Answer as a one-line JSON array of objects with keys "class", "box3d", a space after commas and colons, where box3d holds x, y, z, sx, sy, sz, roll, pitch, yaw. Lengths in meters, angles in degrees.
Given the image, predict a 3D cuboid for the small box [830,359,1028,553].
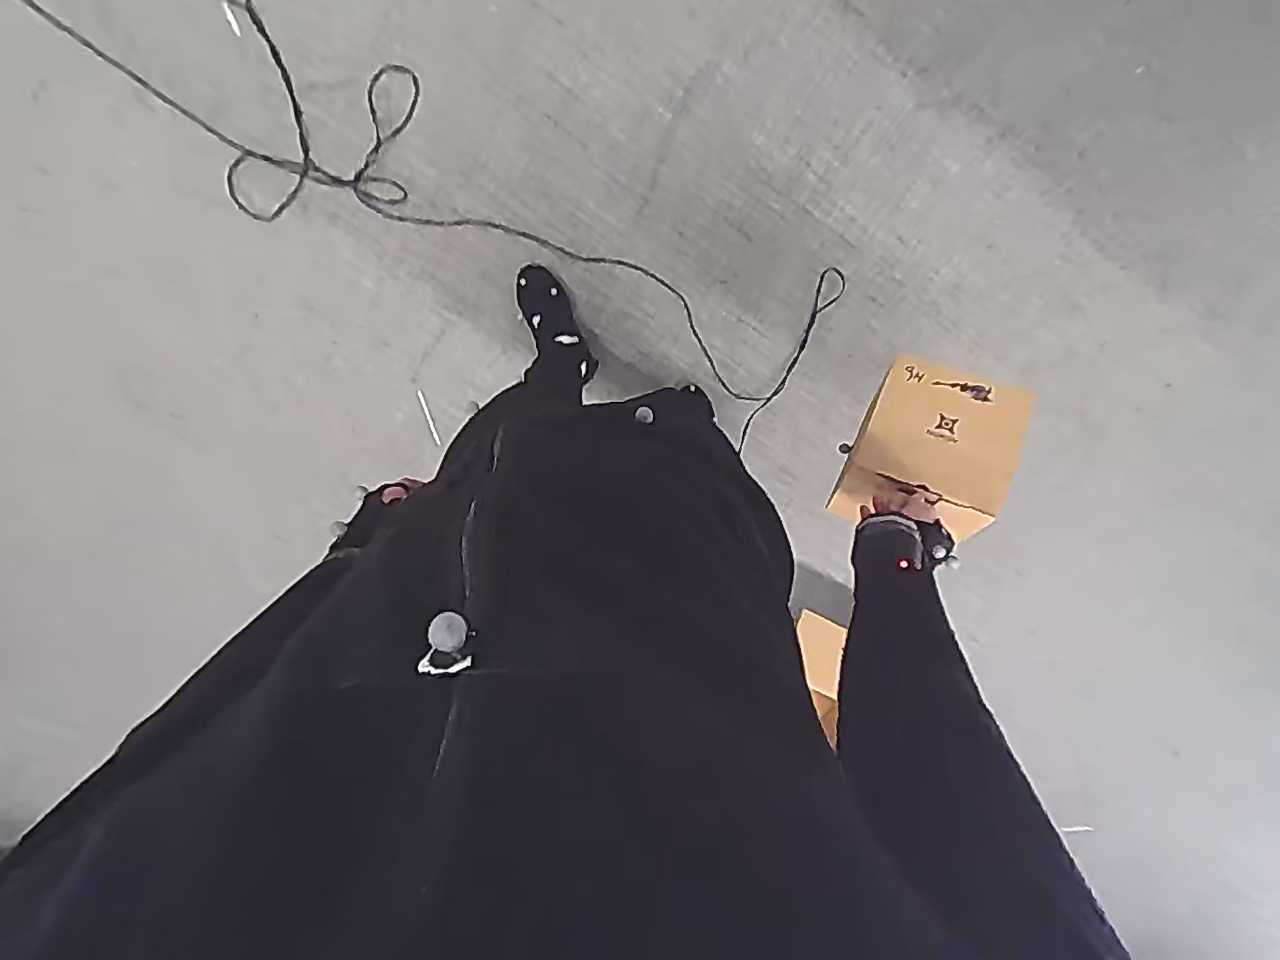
[{"class": "small box", "box3d": [0.369, -0.024, 0.724, 0.168, 0.176, 0.179, 24, 73, 17]}]
